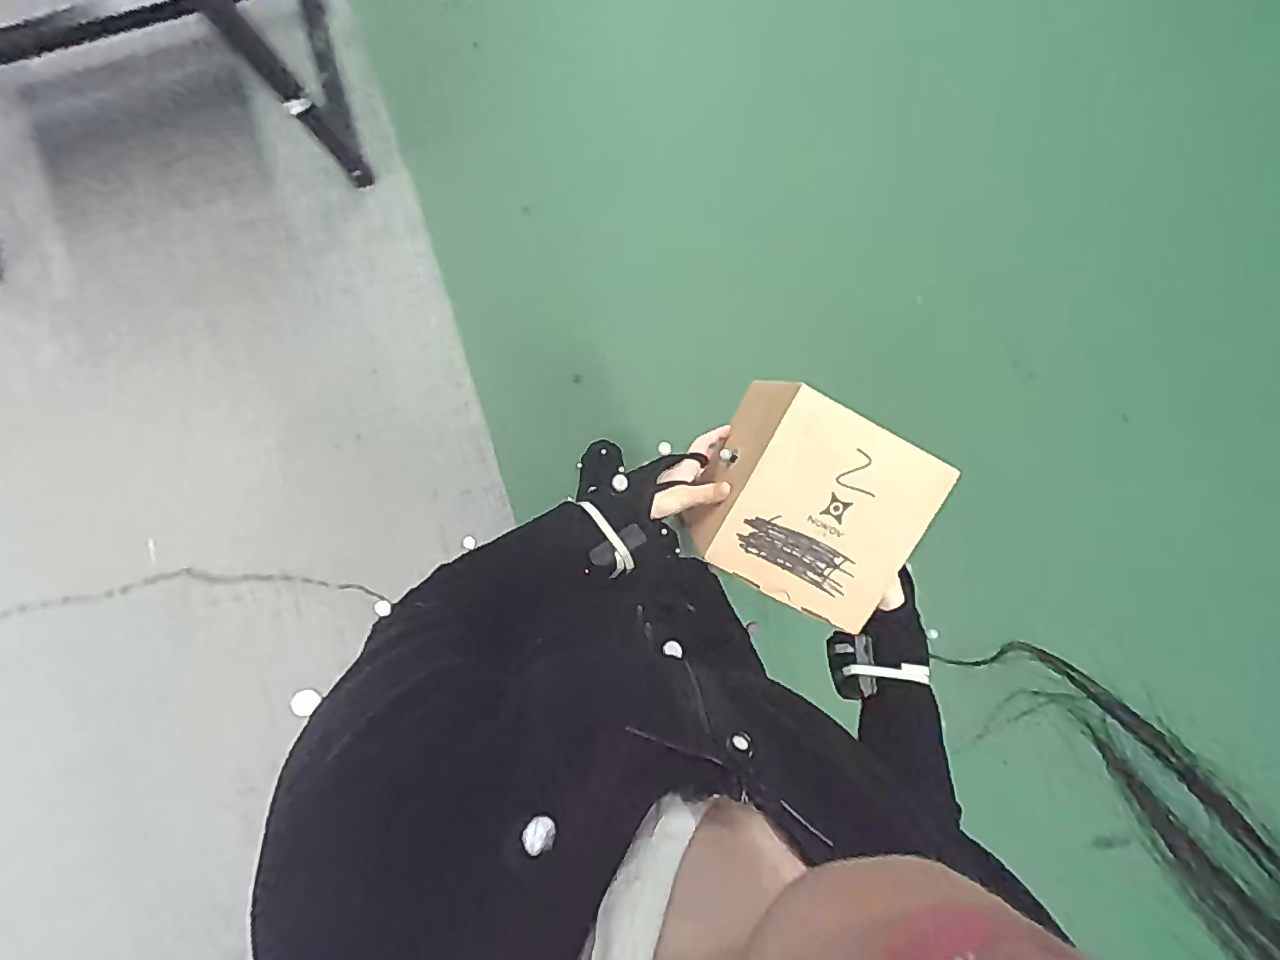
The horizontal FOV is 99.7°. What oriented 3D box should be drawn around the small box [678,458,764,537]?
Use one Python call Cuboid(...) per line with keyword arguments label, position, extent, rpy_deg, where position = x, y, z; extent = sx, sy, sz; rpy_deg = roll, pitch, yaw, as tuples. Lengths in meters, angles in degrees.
Cuboid(label="small box", position=(0.205, 0.043, 1.418), extent=(0.179, 0.176, 0.168), rpy_deg=(-15, 88, 0))
